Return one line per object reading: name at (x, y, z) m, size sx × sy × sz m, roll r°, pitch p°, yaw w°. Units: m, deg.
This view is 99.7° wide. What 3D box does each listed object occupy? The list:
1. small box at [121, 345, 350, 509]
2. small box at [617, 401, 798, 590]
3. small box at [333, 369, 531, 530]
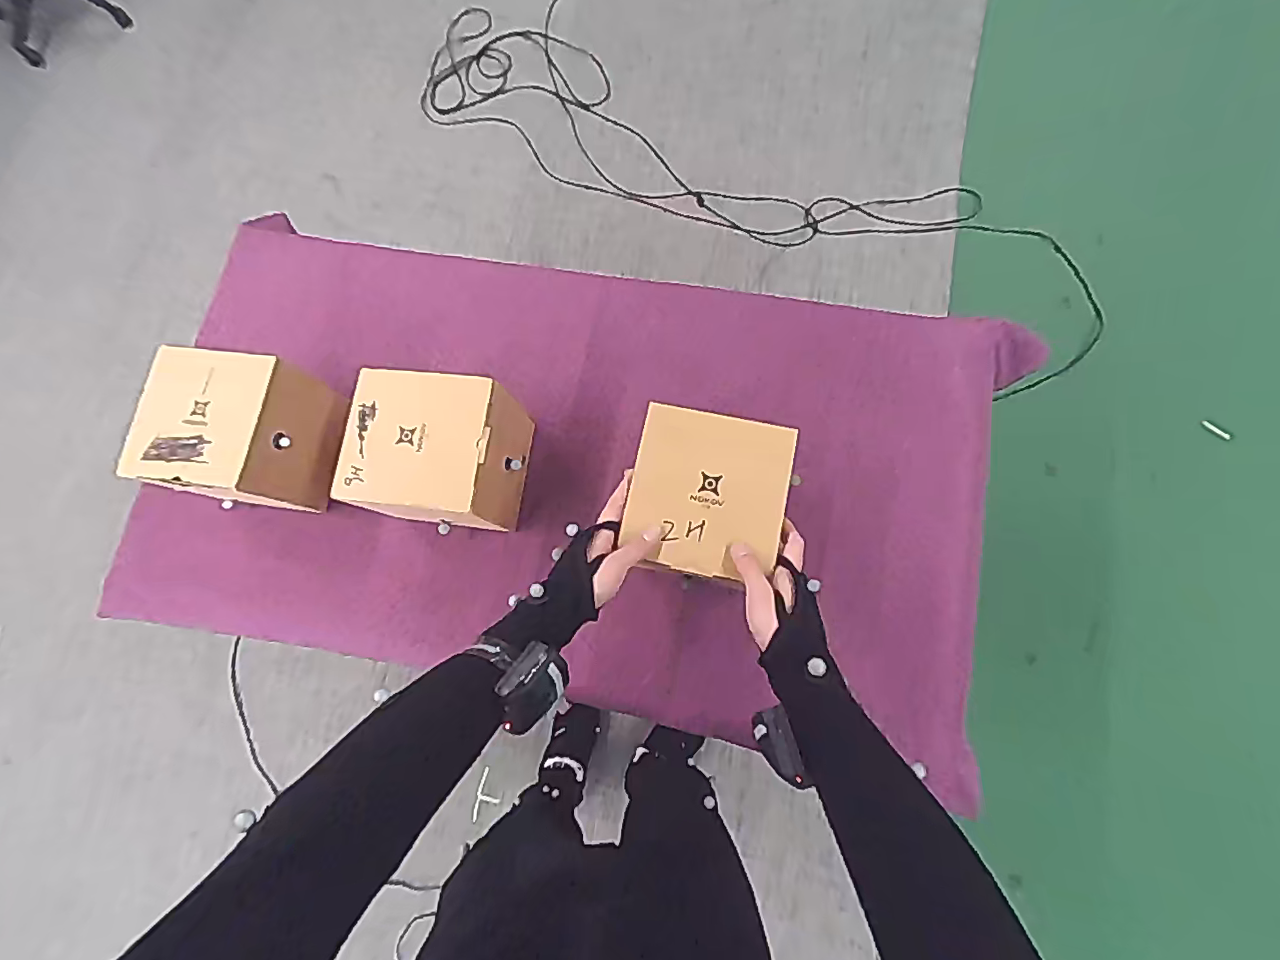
small box at (-0.537, -0.063, 0.747) m, size 0.168 × 0.176 × 0.179 m, roll 7°, pitch 77°, yaw 6°
small box at (0.078, 0.028, 0.651) m, size 0.168 × 0.176 × 0.179 m, roll 12°, pitch 79°, yaw 7°
small box at (-0.258, -0.031, 0.716) m, size 0.179 × 0.176 × 0.168 m, roll 7°, pitch 78°, yaw 6°
